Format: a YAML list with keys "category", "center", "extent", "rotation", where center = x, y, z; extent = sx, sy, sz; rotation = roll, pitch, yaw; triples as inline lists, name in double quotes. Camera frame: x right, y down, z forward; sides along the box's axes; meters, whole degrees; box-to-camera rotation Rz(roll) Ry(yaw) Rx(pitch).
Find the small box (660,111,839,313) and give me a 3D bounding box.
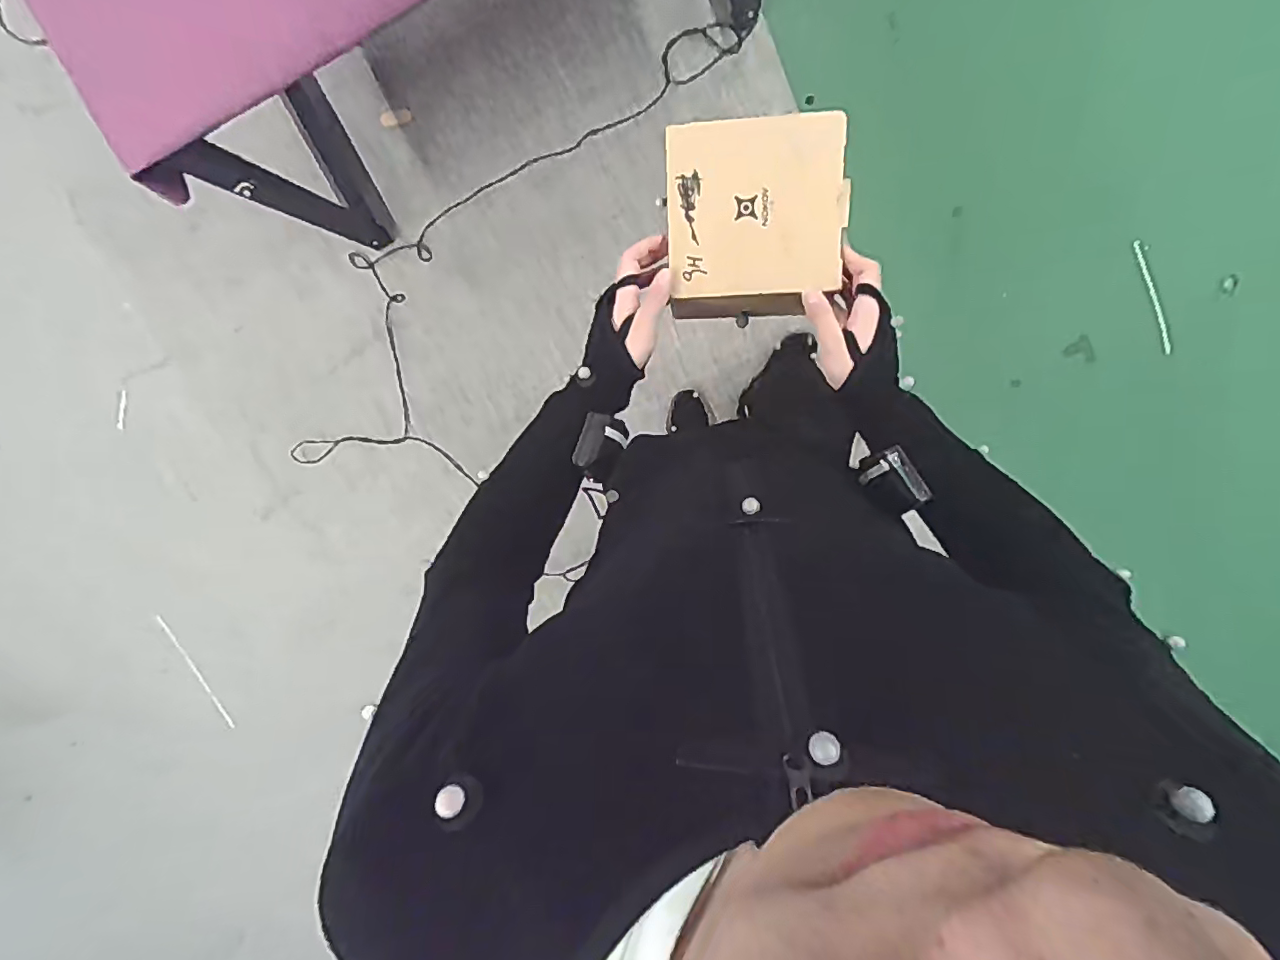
- category: "small box"
  center: [0.113, -0.289, 0.619]
  extent: [0.179, 0.176, 0.168]
  rotation: [0, 99, 5]
